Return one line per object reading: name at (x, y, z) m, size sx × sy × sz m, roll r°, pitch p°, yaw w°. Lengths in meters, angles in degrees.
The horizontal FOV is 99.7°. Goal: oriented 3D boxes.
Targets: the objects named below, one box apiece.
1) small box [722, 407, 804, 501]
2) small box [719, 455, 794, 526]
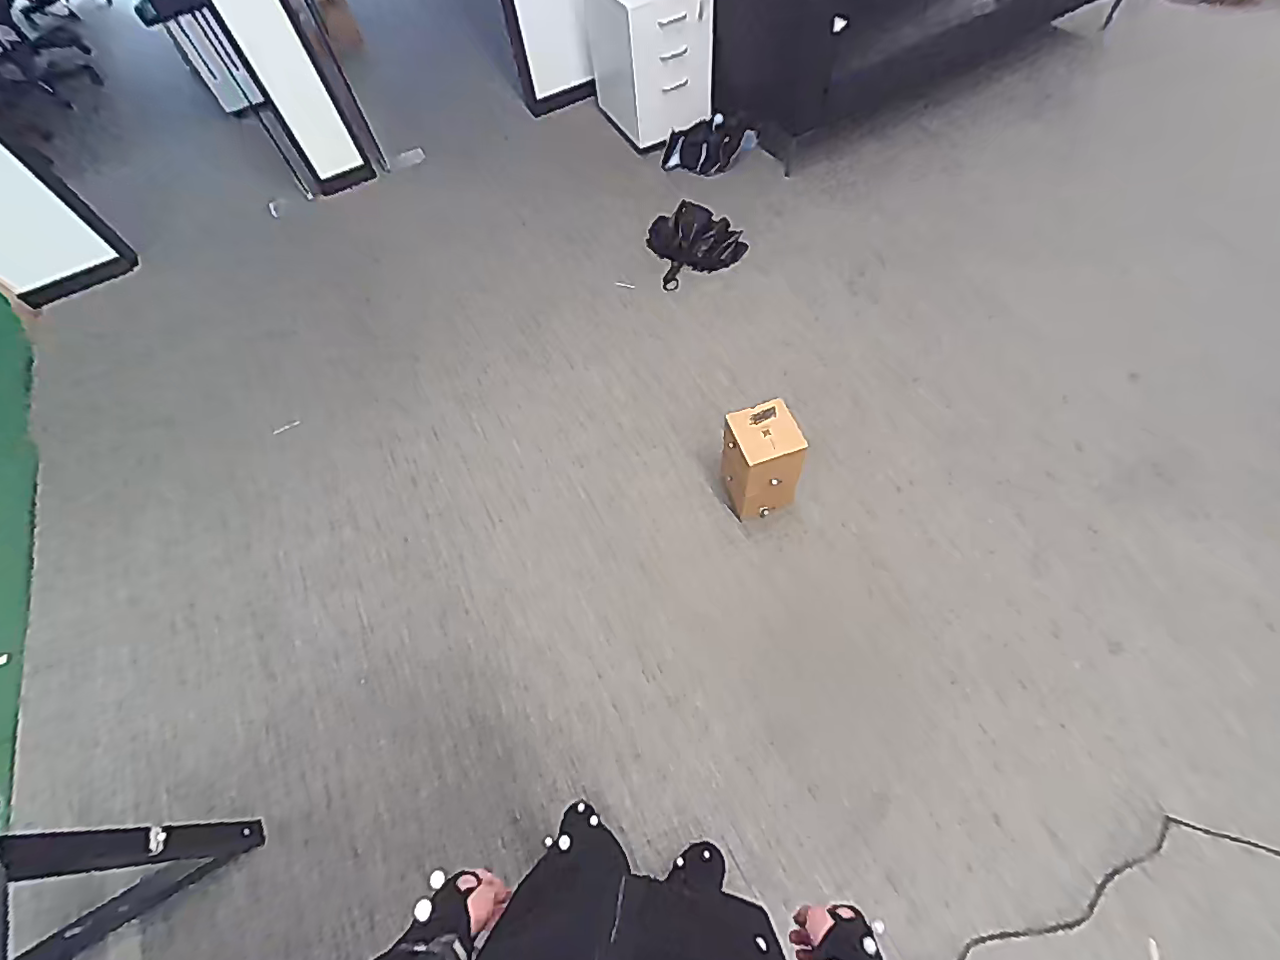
small box at (0.334, -0.070, 1.509) m, size 0.168 × 0.176 × 0.179 m, roll -17°, pitch 60°, yaw -4°
small box at (0.347, 0.014, 1.650) m, size 0.168 × 0.176 × 0.179 m, roll -18°, pitch 61°, yaw -4°
